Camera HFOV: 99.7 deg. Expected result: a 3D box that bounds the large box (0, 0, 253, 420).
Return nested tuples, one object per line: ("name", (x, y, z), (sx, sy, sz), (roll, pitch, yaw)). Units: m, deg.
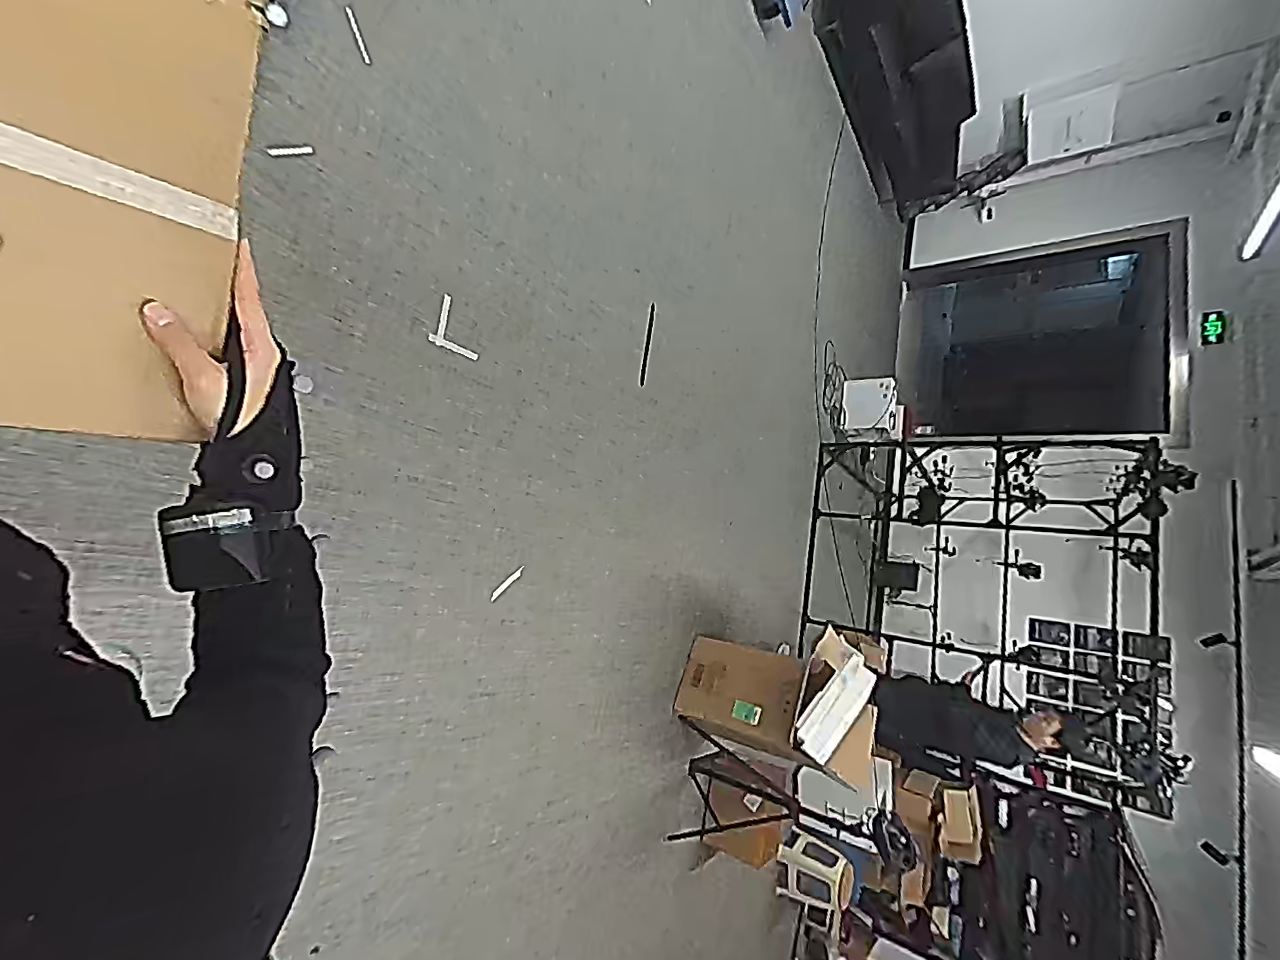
("large box", (-0.528, -0.230, 0.314), (0.408, 0.320, 0.320), (5, 99, -53))
